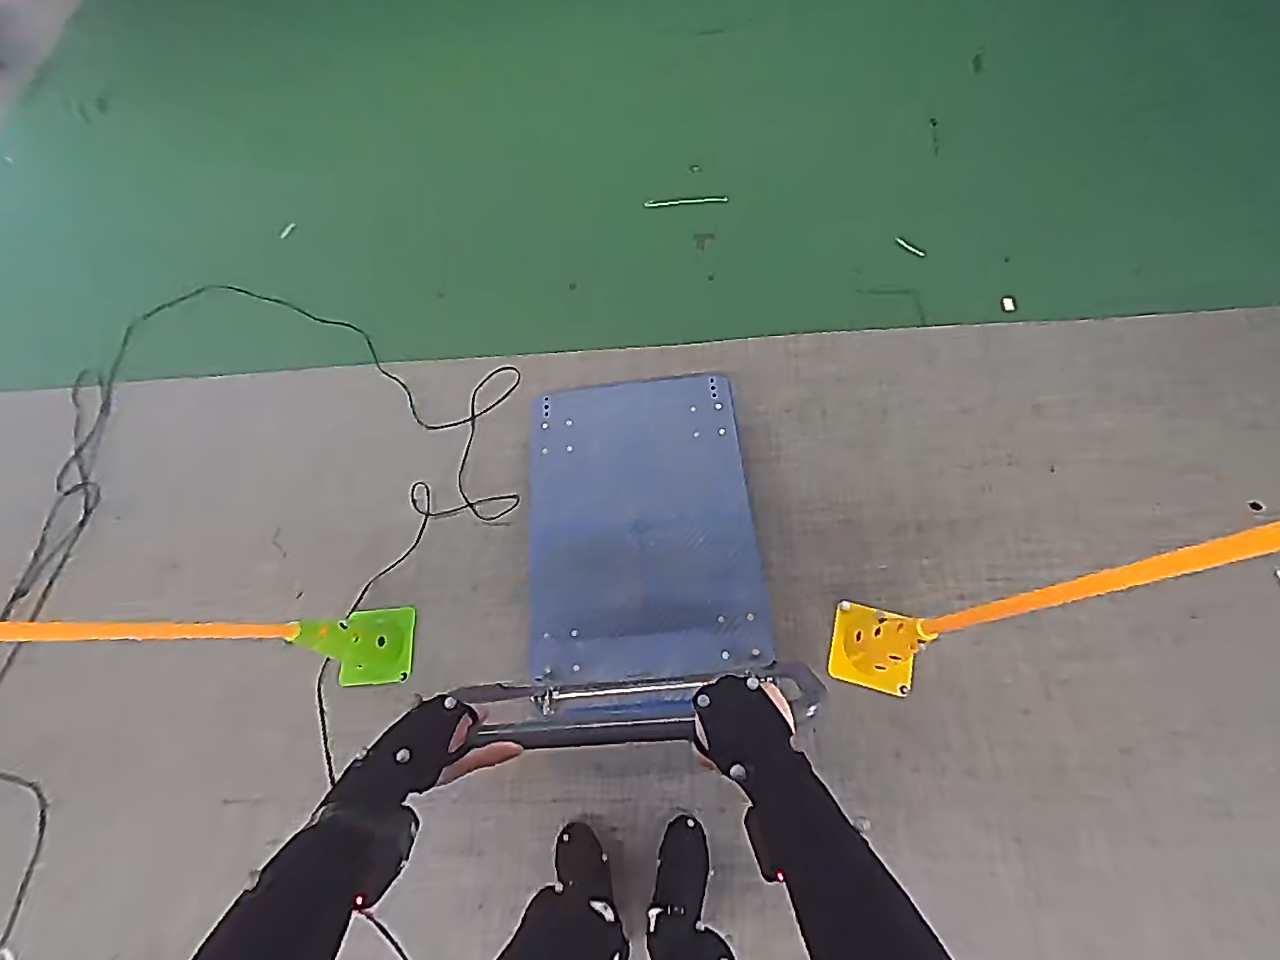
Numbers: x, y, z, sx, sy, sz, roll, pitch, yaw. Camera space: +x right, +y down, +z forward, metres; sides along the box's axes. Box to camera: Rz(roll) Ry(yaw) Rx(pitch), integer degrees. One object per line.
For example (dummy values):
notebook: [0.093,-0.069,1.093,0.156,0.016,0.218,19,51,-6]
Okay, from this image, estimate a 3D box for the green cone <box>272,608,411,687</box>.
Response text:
green cone: [-0.750,0.392,1.329,0.202,0.368,0.200,-7,67,4]
